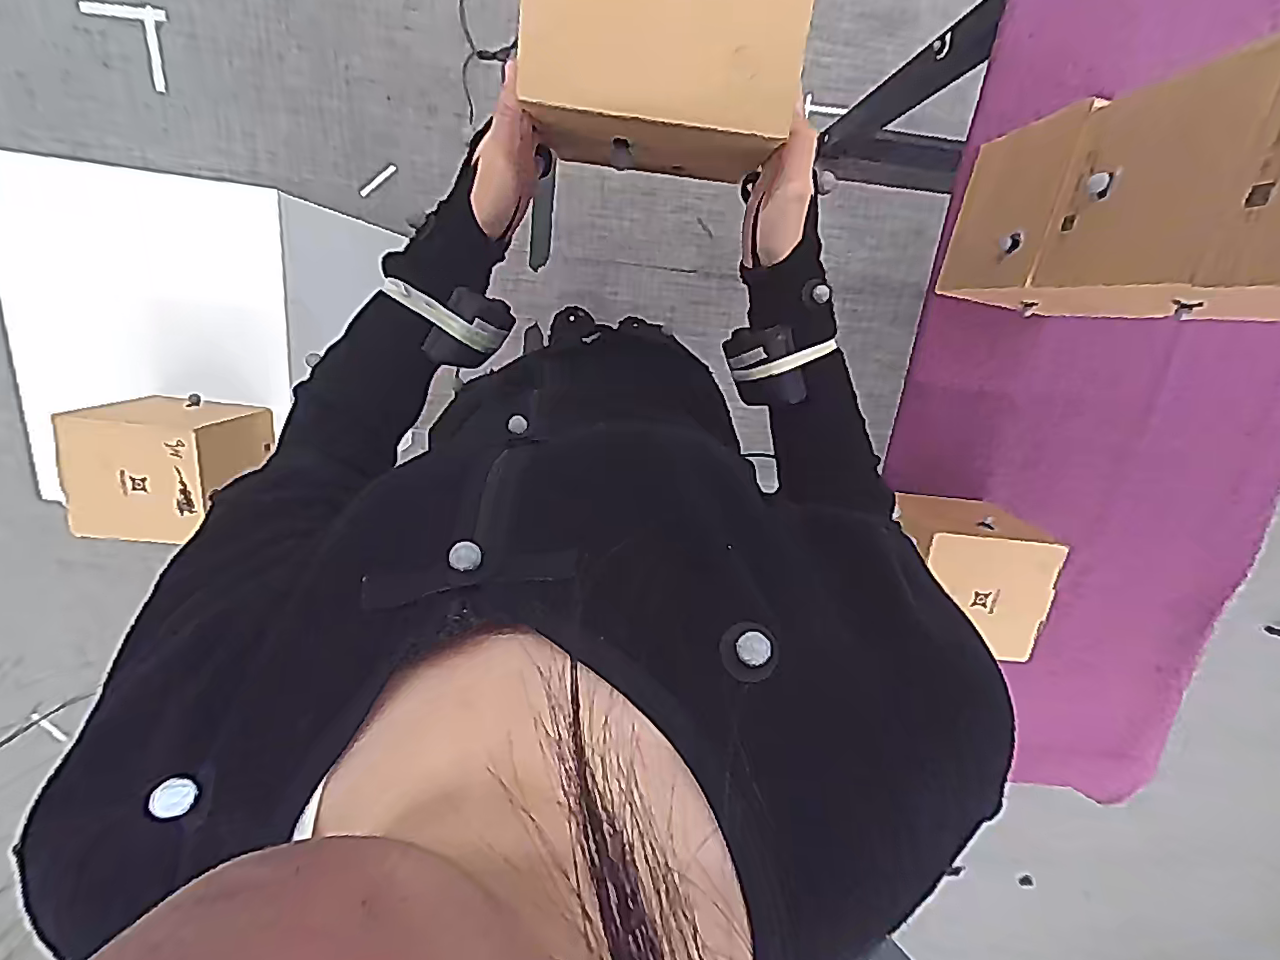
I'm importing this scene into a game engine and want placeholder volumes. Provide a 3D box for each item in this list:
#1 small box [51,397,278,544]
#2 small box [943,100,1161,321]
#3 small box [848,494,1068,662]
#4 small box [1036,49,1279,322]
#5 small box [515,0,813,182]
[{"bbox_3d":[-0.663,-0.022,0.778,0.179,0.176,0.168,6,106,-4],"label":"small box"},{"bbox_3d":[0.485,-0.287,0.617,0.168,0.176,0.179,9,107,-7],"label":"small box"},{"bbox_3d":[0.419,0.126,0.744,0.179,0.176,0.168,6,106,-4],"label":"small box"},{"bbox_3d":[0.503,-0.233,0.462,0.179,0.176,0.168,9,107,-5],"label":"small box"},{"bbox_3d":[0.020,-0.318,0.365,0.168,0.176,0.179,7,109,-2],"label":"small box"}]
